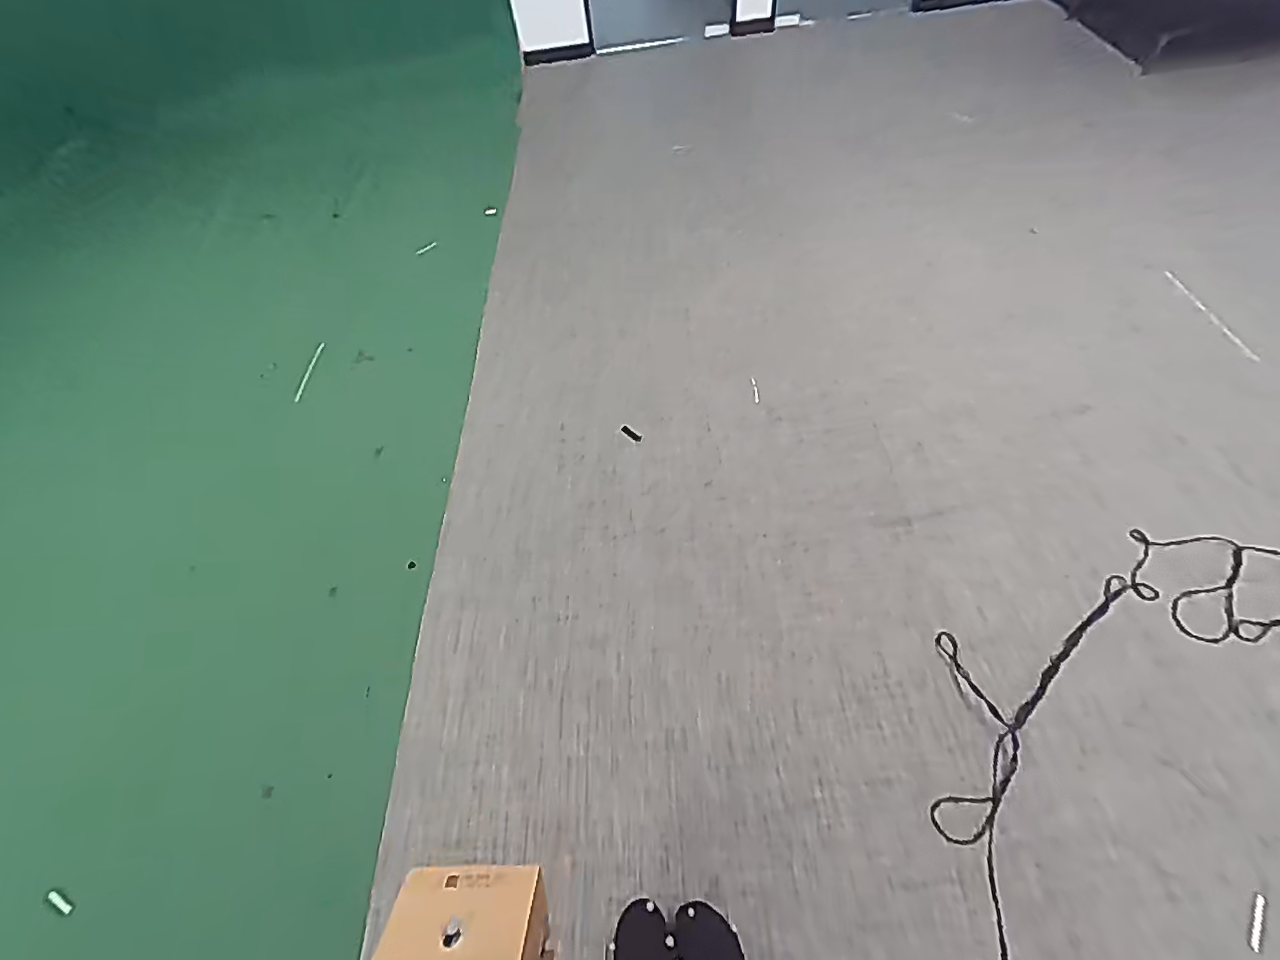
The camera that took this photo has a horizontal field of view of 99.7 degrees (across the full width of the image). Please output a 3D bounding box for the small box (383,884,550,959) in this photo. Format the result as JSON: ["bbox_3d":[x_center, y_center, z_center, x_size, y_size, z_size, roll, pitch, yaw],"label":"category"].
[{"bbox_3d":[-0.199,0.596,0.612,0.168,0.179,0.176,-4,16,1],"label":"small box"}]
